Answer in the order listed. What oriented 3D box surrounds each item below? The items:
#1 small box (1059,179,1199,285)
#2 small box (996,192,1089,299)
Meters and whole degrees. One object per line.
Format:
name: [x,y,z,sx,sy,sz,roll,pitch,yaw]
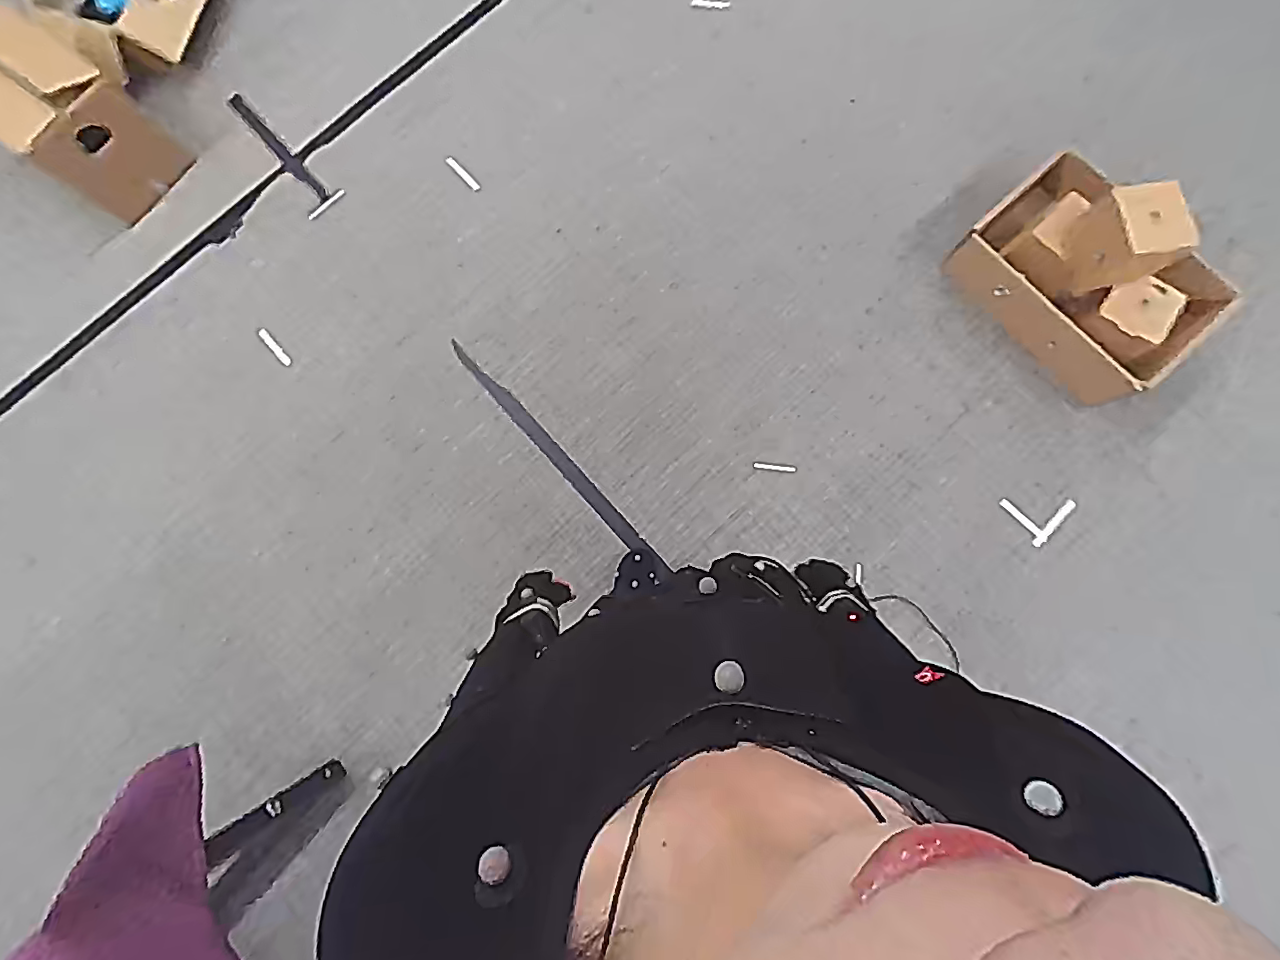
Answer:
small box: [1.202,-0.604,1.344,0.168,0.176,0.179,-10,80,-3]
small box: [1.155,-0.651,1.515,0.179,0.176,0.168,-44,84,-5]
